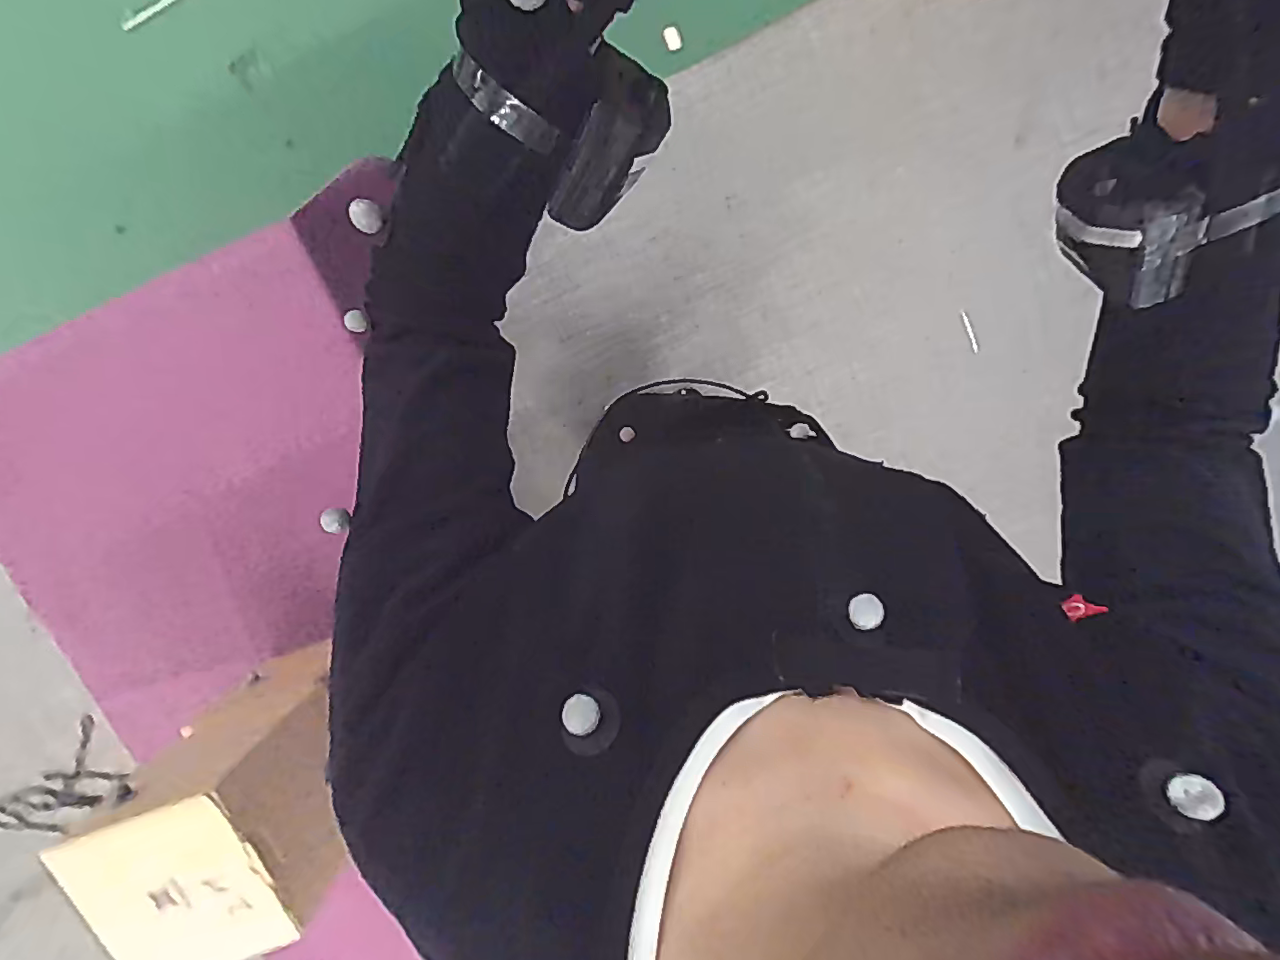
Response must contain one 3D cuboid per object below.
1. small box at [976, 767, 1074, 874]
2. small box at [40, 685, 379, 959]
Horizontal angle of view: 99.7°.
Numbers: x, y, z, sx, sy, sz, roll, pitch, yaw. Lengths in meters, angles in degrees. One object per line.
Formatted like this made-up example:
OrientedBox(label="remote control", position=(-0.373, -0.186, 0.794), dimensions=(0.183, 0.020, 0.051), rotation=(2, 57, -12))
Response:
OrientedBox(label="small box", position=(1.121, 0.970, 1.557), dimensions=(0.179, 0.176, 0.168), rotation=(-25, 98, 4))
OrientedBox(label="small box", position=(-0.411, 0.345, 0.553), dimensions=(0.179, 0.176, 0.168), rotation=(-21, 100, 4))
